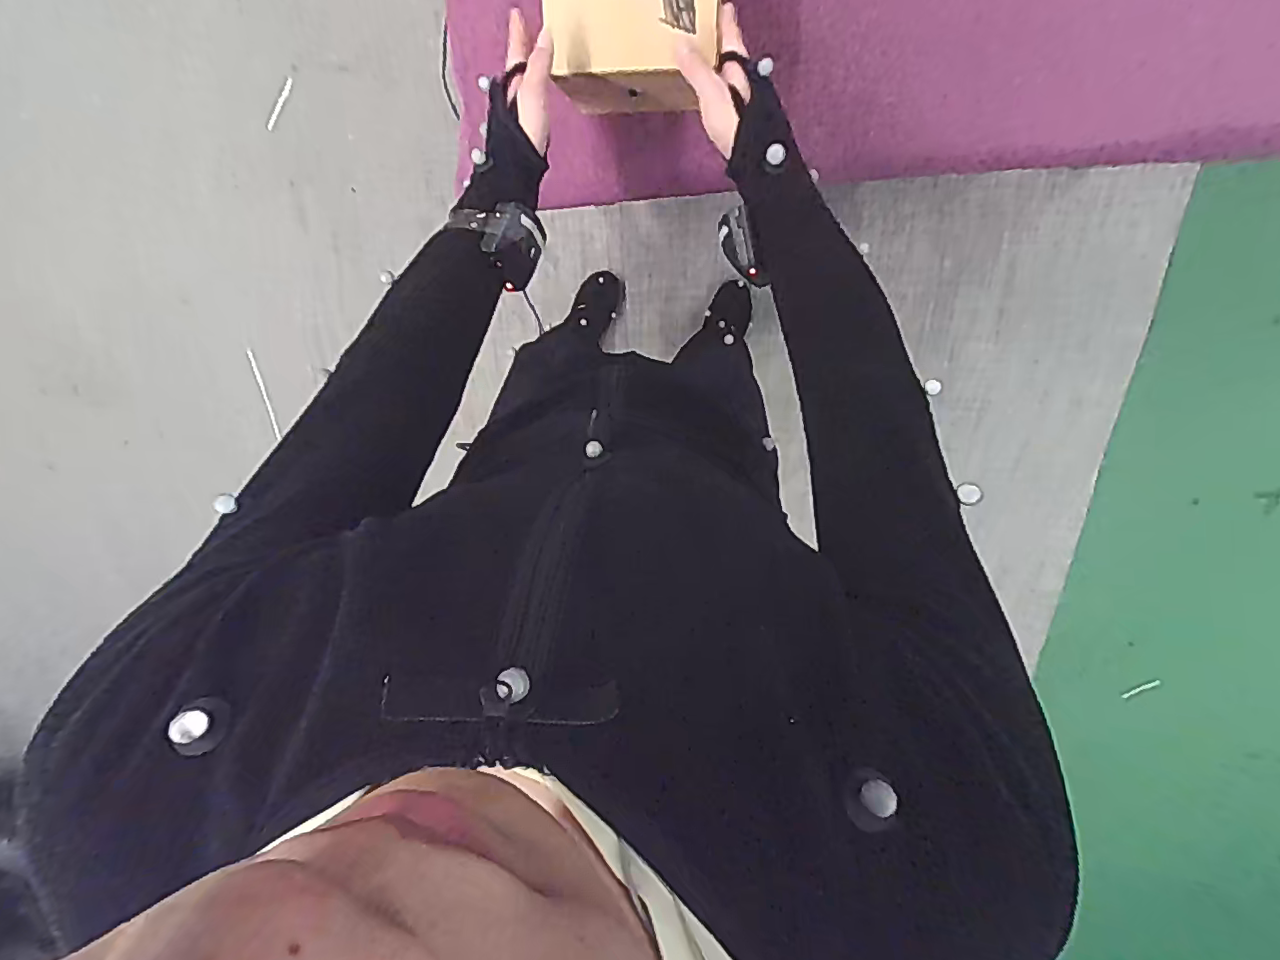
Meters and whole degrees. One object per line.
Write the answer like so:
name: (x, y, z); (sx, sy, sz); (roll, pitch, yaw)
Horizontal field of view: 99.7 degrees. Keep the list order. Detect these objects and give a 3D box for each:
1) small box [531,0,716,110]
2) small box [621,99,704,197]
small box: (-0.008, -0.511, 0.575); (0.179, 0.176, 0.168); (3, 113, 9)
small box: (0.059, -0.763, 1.260); (0.179, 0.176, 0.168); (-1, 114, 8)
